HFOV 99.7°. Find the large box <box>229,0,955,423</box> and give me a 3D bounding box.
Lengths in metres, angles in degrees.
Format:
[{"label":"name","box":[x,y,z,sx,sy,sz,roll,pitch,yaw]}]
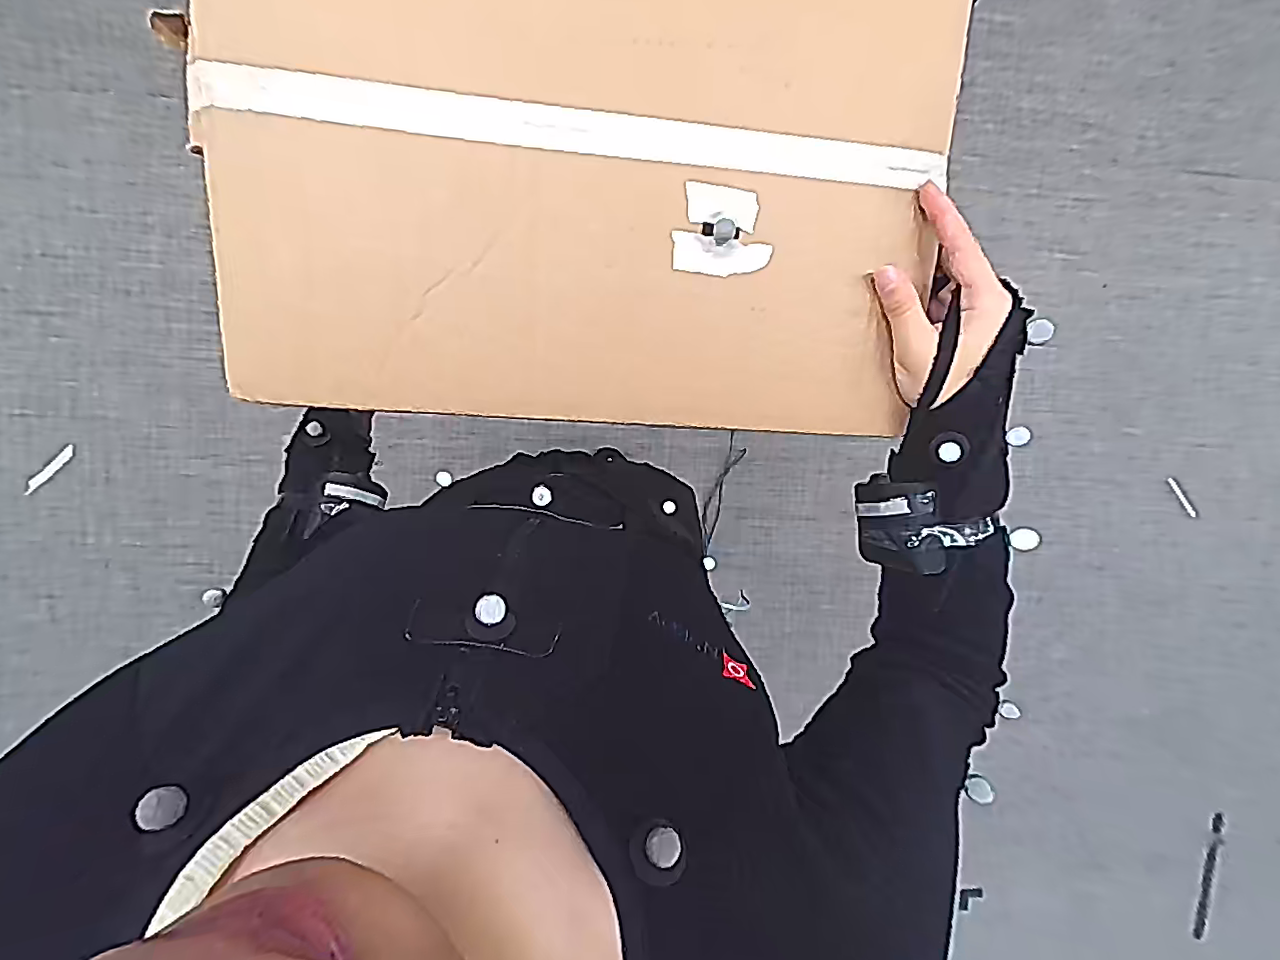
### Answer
[{"label":"large box","box":[-0.037,-0.219,0.453,0.408,0.320,0.320,2,102,-9]}]
